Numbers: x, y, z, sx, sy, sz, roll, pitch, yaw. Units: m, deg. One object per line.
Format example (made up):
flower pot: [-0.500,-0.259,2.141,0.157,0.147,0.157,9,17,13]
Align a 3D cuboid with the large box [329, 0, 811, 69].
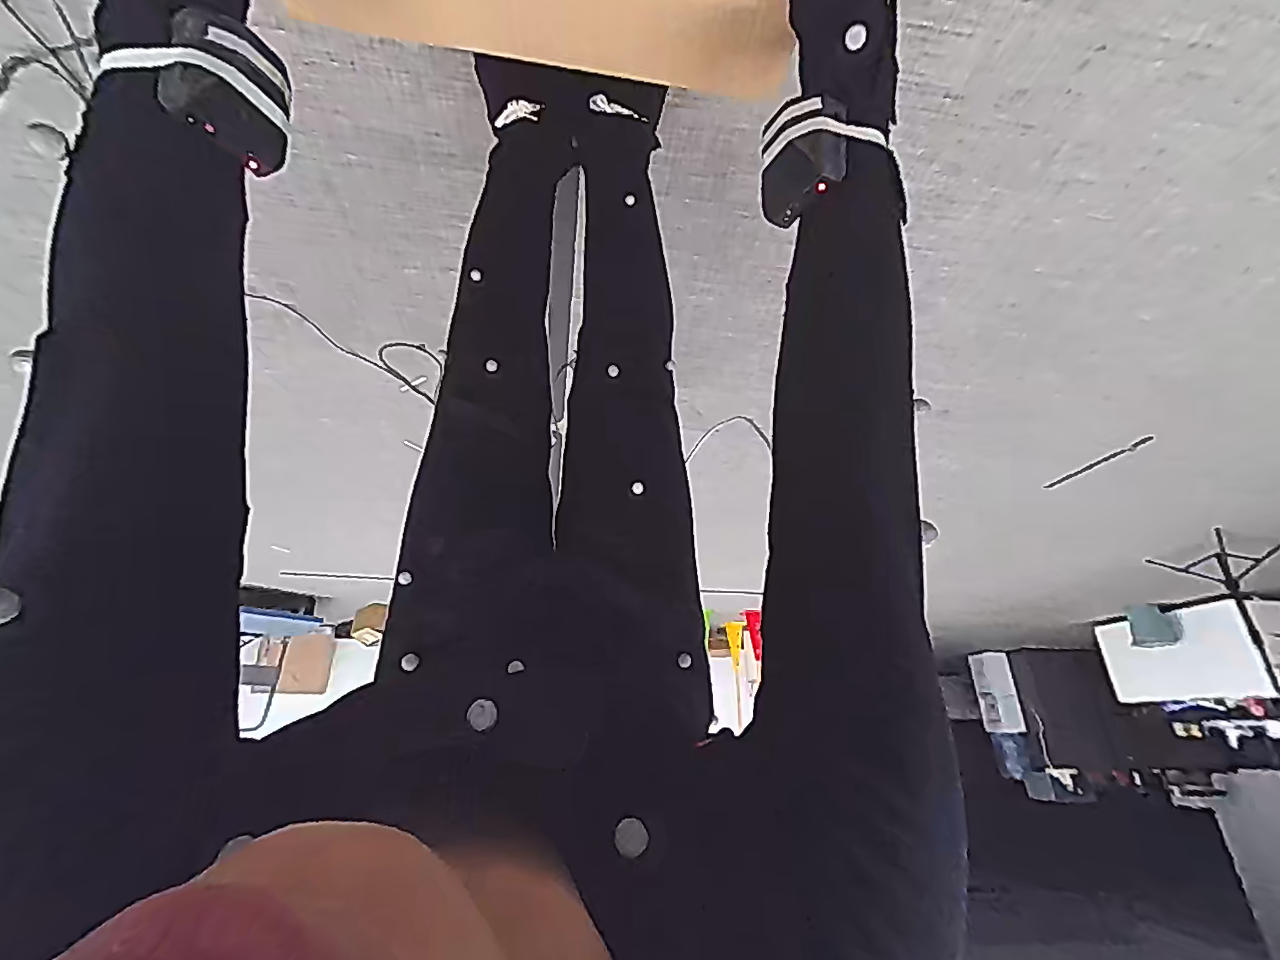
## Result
large box: [-0.050,-0.572,0.394,0.408,0.320,0.320,4,149,-8]
